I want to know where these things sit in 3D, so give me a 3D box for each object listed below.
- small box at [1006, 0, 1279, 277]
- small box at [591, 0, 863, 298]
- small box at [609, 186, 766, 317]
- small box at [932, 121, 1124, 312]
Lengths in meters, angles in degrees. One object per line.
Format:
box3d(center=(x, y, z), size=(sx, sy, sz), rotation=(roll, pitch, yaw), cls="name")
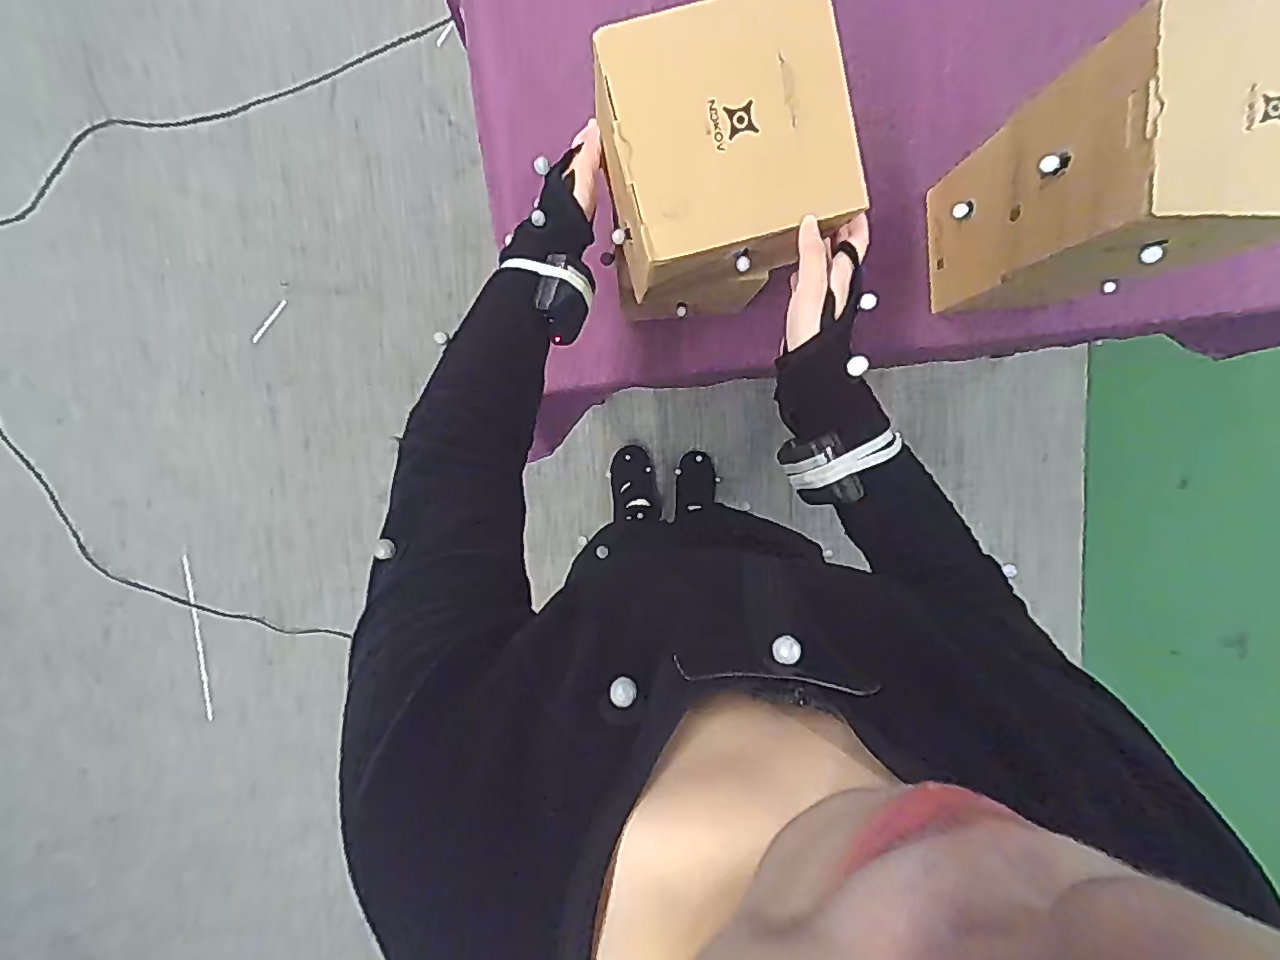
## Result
box3d(center=(0.472, -0.290, 0.492), size=(0.179, 0.176, 0.168), rotation=(0, 95, 0), cls="small box")
box3d(center=(0.063, -0.271, 0.474), size=(0.179, 0.176, 0.168), rotation=(-14, 99, -1), cls="small box")
box3d(center=(0.050, -0.300, 0.652), size=(0.168, 0.176, 0.179), rotation=(-4, 95, 0), cls="small box")
box3d(center=(0.478, -0.309, 0.656), size=(0.179, 0.176, 0.168), rotation=(-5, 95, 0), cls="small box")
